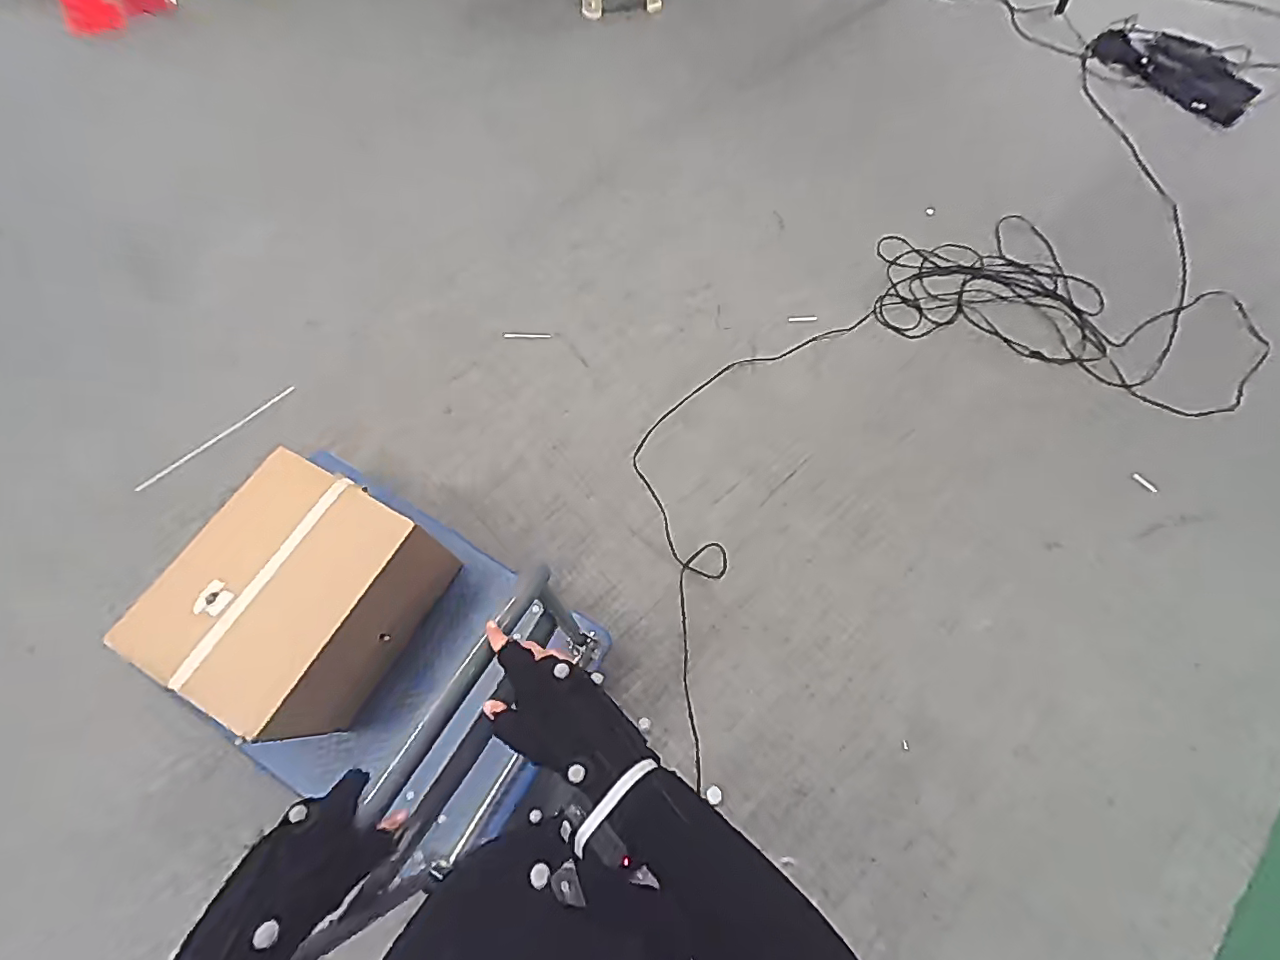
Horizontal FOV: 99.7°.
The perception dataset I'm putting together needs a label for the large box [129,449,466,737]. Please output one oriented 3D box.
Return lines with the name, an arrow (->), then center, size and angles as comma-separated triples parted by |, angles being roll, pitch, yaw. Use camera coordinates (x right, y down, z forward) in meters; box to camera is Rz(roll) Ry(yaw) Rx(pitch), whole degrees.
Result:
large box -> -0.610, 0.220, 1.057 | 0.320, 0.320, 0.408 | 27, 70, 9
